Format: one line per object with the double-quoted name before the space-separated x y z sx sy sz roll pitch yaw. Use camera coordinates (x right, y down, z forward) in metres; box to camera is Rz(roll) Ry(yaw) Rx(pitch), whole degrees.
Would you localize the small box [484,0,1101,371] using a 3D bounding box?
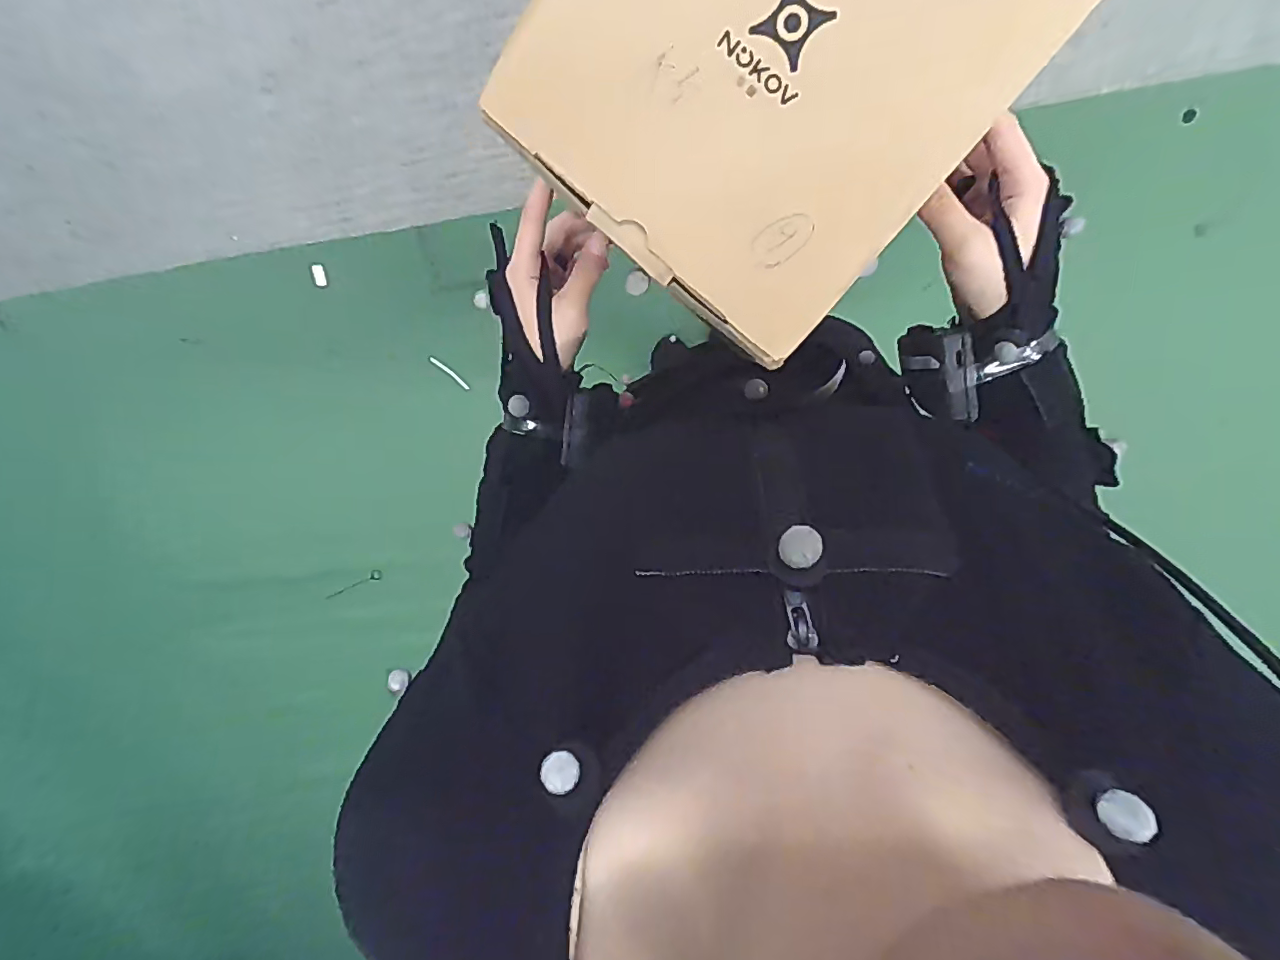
"small box" 0.059 -0.178 0.283 0.168 0.176 0.179 40 105 -4
